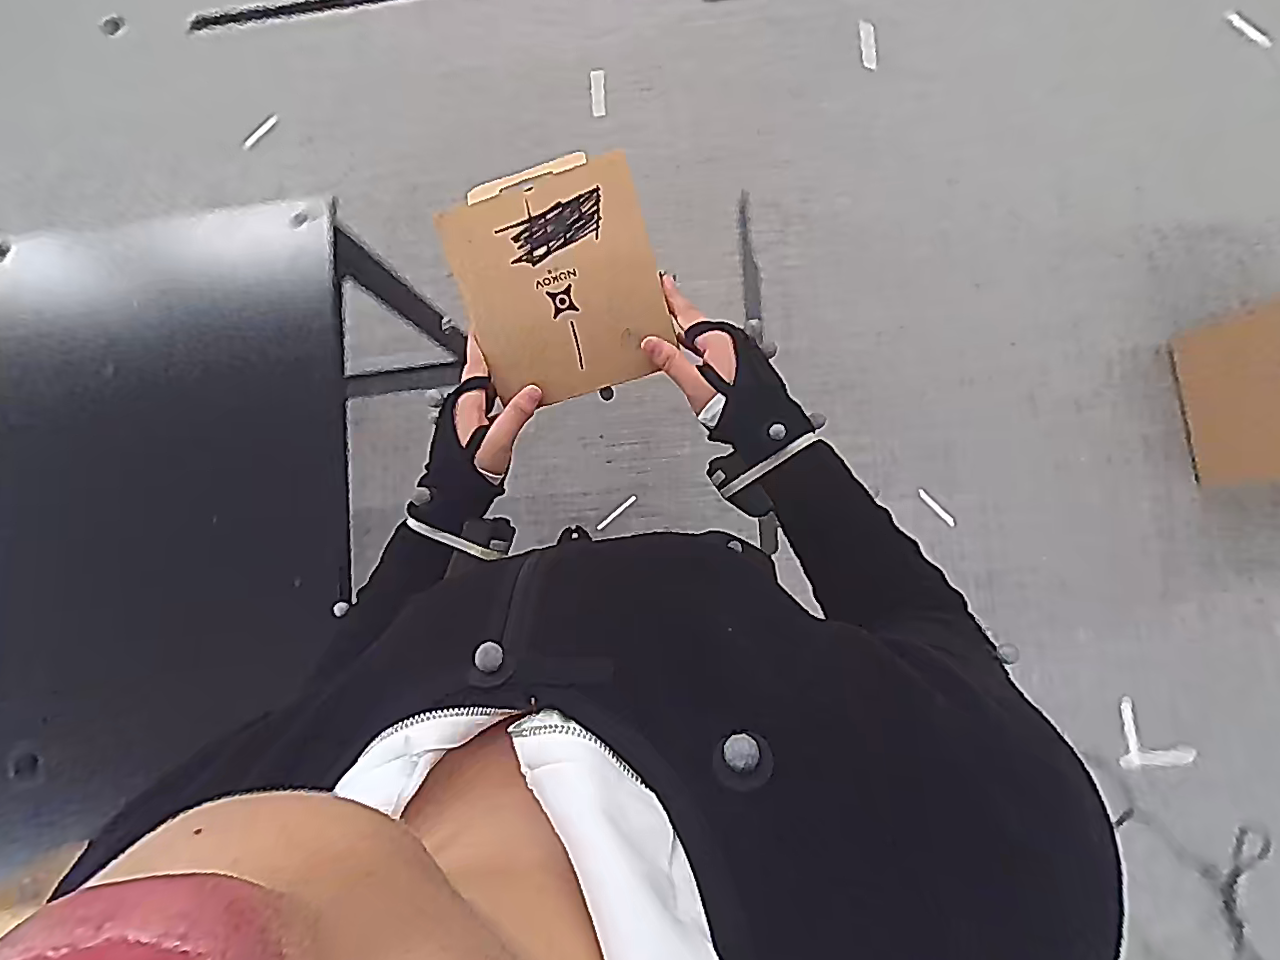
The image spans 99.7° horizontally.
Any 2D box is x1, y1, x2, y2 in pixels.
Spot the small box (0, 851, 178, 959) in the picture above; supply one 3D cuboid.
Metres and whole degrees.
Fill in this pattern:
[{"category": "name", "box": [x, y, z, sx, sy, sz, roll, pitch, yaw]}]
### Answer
[{"category": "small box", "box": [-0.743, 0.612, 0.696, 0.179, 0.176, 0.168, -10, 83, 4]}]
